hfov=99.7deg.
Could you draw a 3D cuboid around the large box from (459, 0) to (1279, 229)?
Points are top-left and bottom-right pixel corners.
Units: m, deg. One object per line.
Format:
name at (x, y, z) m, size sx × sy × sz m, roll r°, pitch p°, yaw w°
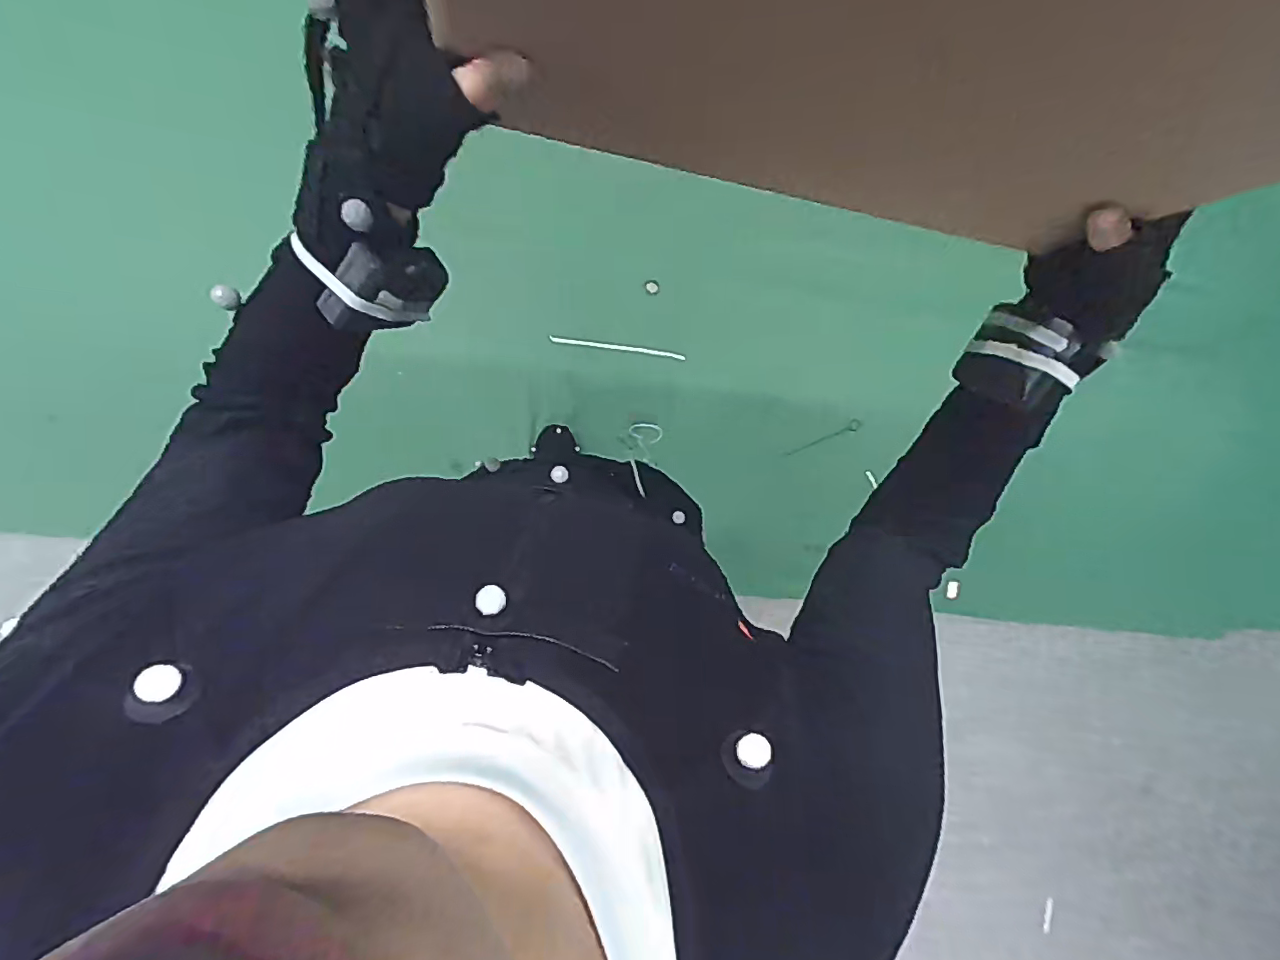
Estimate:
large box at (0.149, -0.318, 0.178) m, size 0.408 × 0.320 × 0.320 m, roll 4°, pitch 97°, yaw -16°
